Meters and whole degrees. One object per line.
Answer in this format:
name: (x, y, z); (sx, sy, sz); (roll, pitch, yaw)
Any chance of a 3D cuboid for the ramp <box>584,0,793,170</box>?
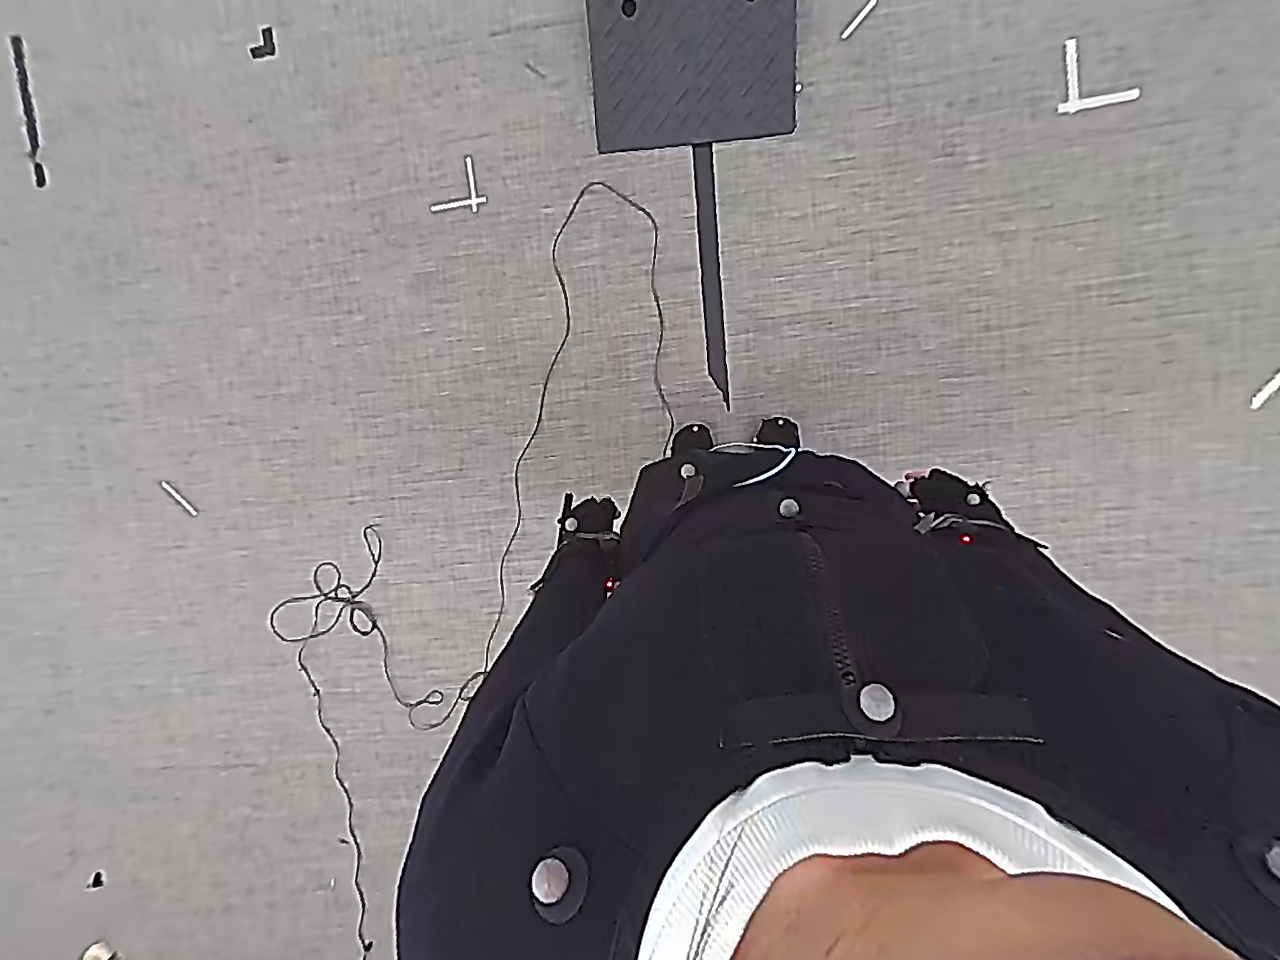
ramp: (0.096, -1.300, 1.250); (0.509, 0.206, 0.991); (-6, 95, 6)
